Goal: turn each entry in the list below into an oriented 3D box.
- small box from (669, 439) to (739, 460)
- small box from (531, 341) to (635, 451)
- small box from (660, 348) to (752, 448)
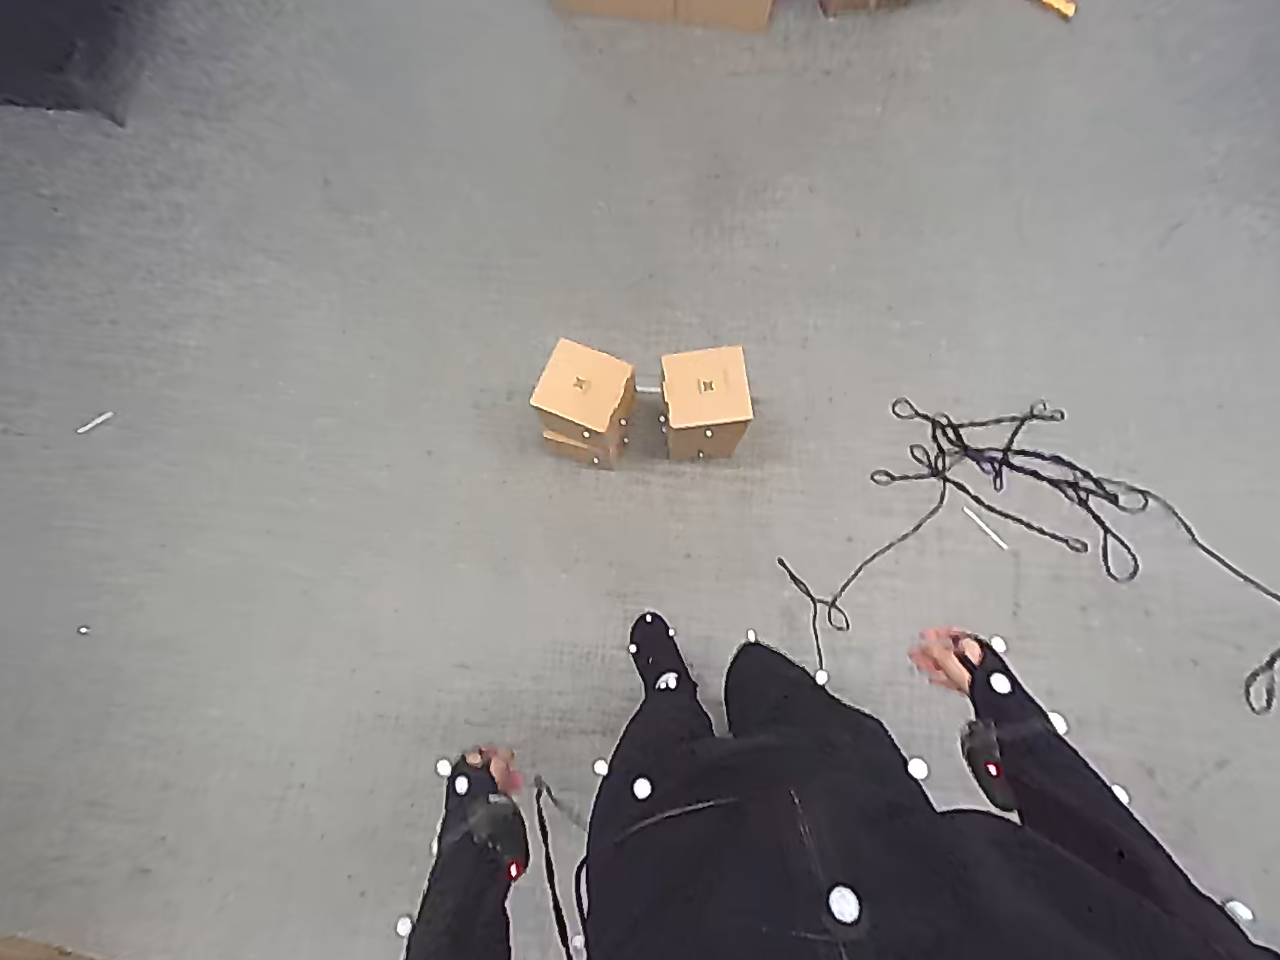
[{"bbox_3d":[0.155,-0.152,1.369,0.168,0.176,0.179,-2,77,2],"label":"small box"},{"bbox_3d":[-0.120,-0.181,1.222,0.179,0.176,0.168,21,79,6],"label":"small box"},{"bbox_3d":[0.141,-0.175,1.208,0.179,0.176,0.168,-7,78,1],"label":"small box"}]
